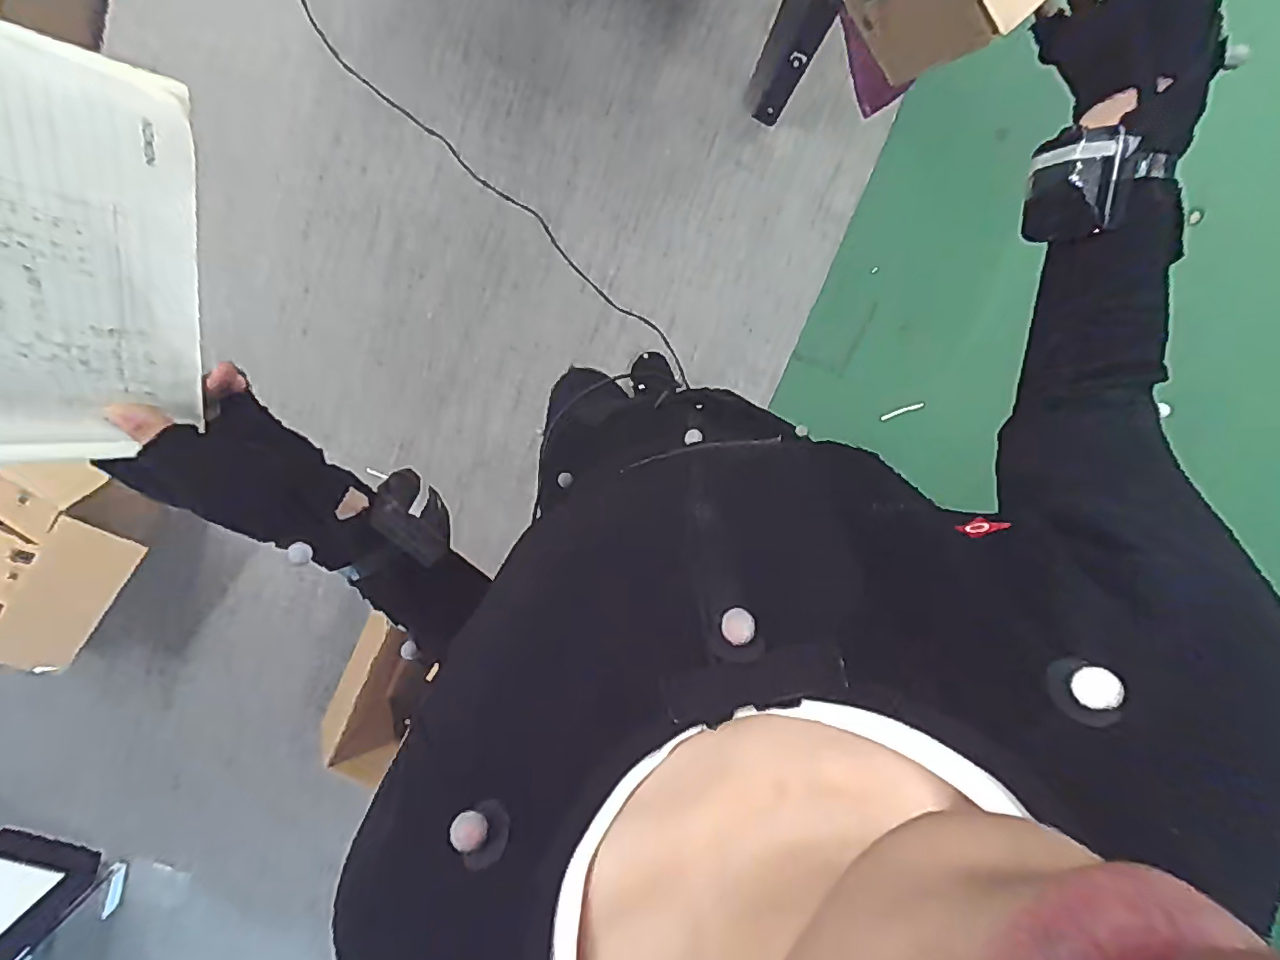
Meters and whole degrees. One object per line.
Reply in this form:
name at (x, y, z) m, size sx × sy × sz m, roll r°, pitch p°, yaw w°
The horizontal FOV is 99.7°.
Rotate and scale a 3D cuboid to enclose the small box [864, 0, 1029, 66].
small box at (0.255, -0.453, 0.394) m, size 0.179 × 0.176 × 0.168 m, roll -40°, pitch 112°, yaw 19°
